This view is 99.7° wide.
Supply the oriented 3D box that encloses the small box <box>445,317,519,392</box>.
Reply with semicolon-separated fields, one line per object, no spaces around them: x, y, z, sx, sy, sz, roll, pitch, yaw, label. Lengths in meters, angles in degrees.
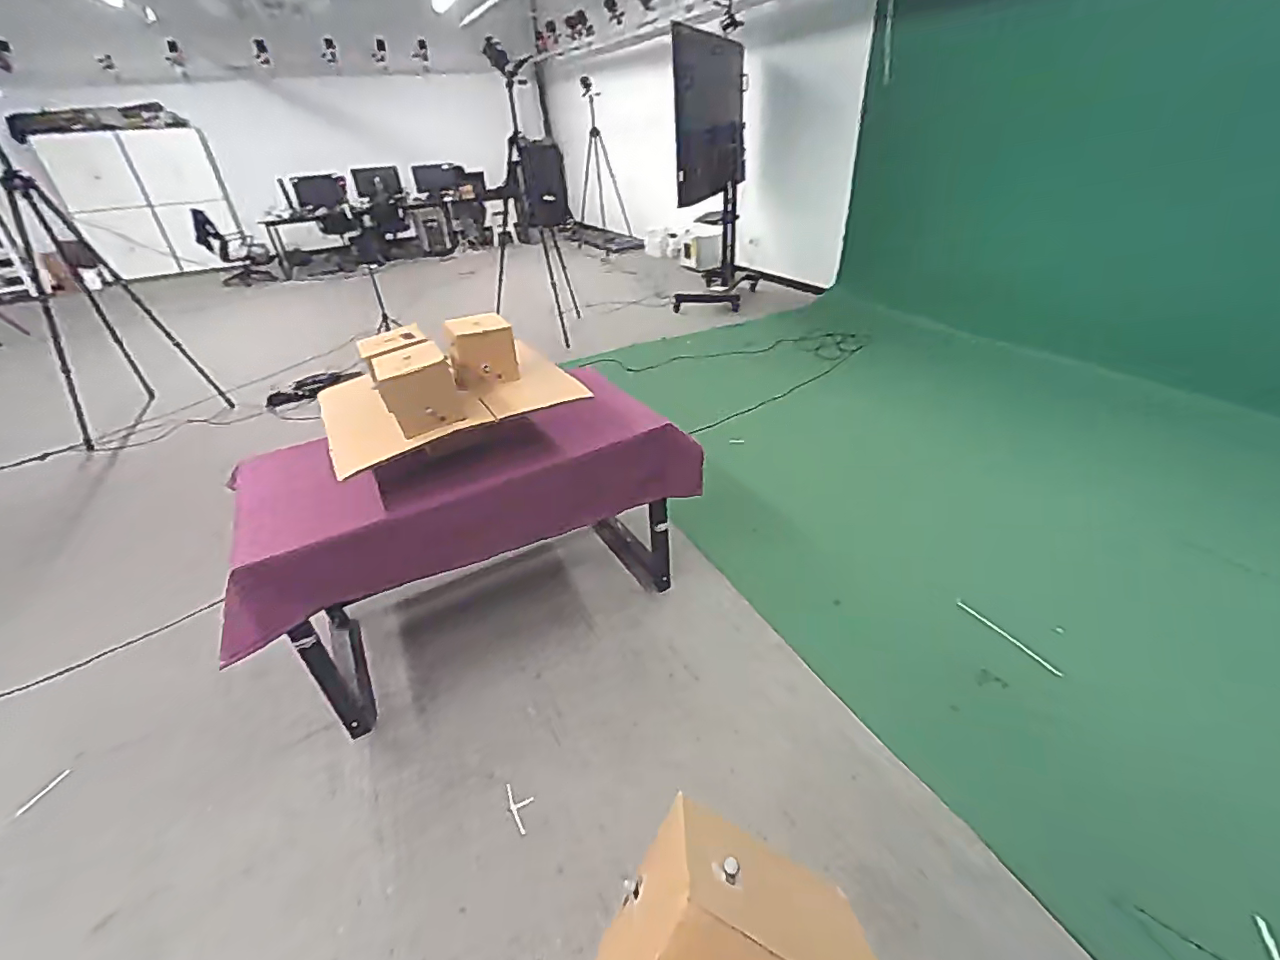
-0.481;-0.383;1.648;0.168;0.176;0.179;-18;36;-24;small box
